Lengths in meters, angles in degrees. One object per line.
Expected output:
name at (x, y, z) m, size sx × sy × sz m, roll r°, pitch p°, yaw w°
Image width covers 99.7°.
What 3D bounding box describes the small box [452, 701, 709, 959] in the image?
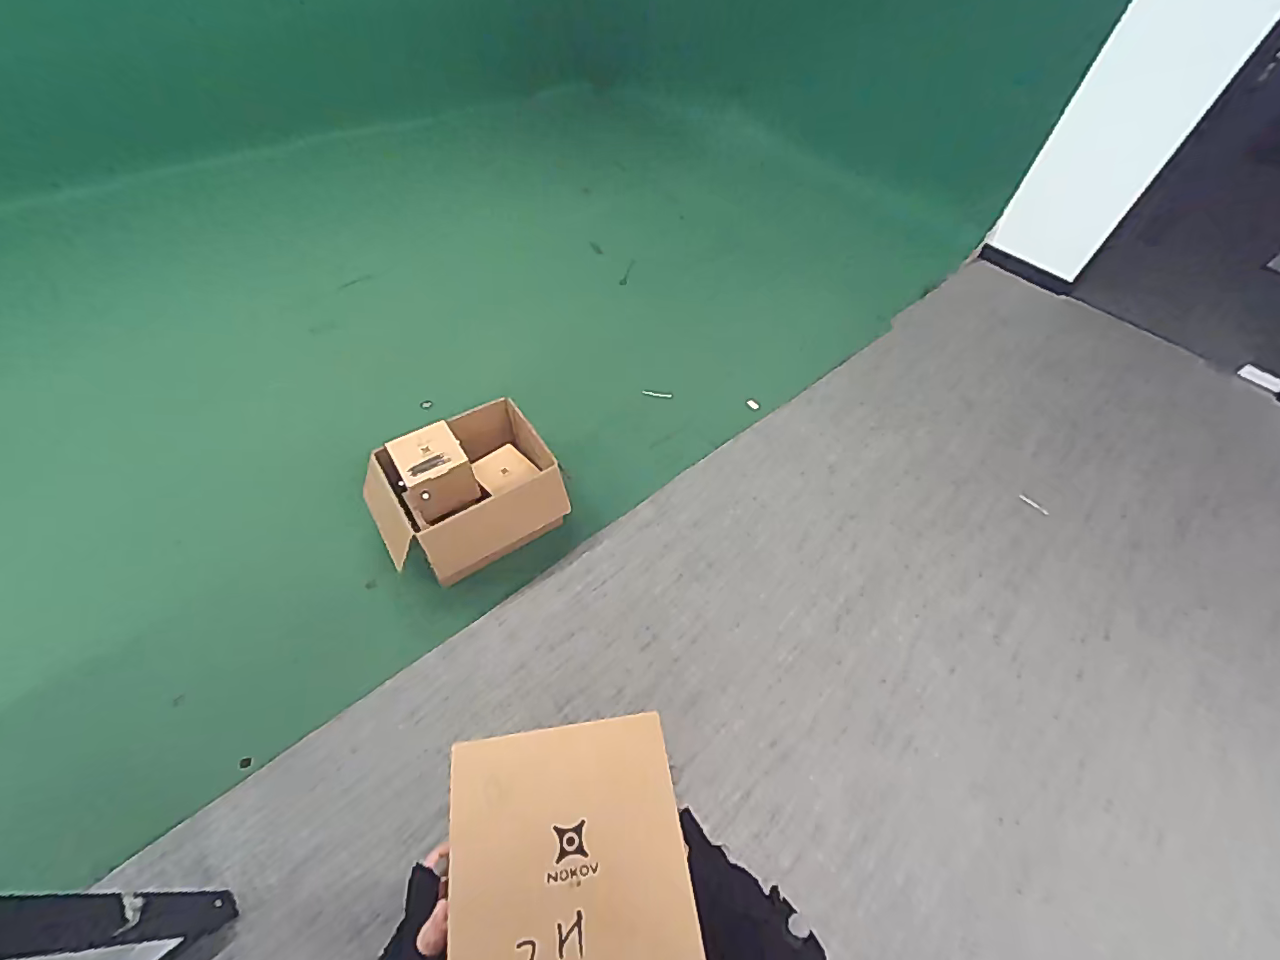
small box at (-0.058, 0.304, 0.447) m, size 0.168 × 0.176 × 0.179 m, roll -3°, pitch 54°, yaw -12°
